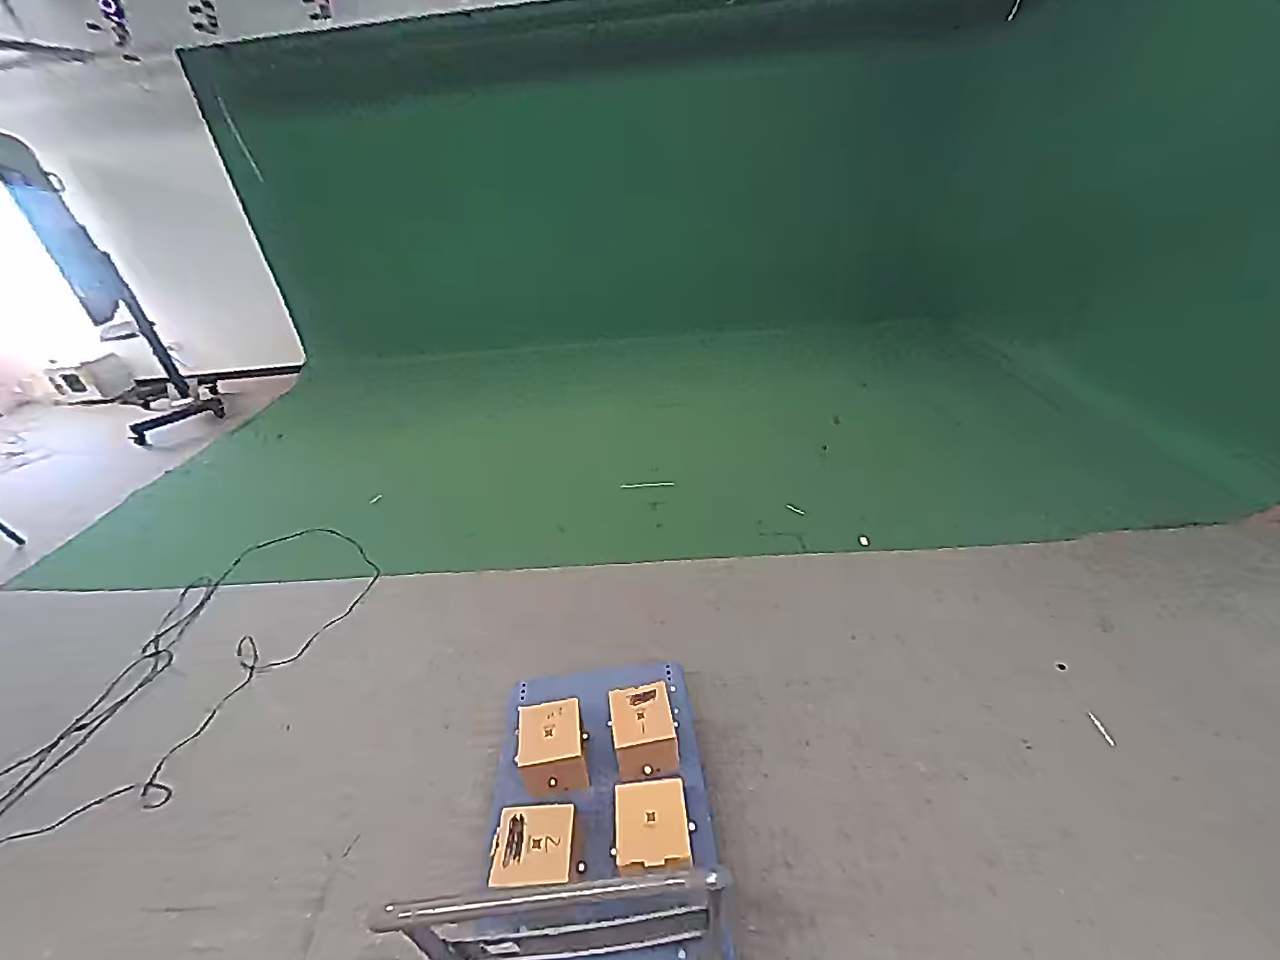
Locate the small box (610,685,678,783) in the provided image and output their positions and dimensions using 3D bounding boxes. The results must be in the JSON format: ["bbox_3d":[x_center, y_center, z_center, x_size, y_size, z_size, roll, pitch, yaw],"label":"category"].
[{"bbox_3d":[0.010,0.709,1.512,0.168,0.176,0.179,-9,34,-3],"label":"small box"}]

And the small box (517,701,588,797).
[{"bbox_3d":[-0.238,0.748,1.493,0.168,0.176,0.179,-8,33,-4],"label":"small box"}]

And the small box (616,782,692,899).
[{"bbox_3d":[0.031,0.856,1.286,0.168,0.176,0.179,-6,33,0],"label":"small box"}]
